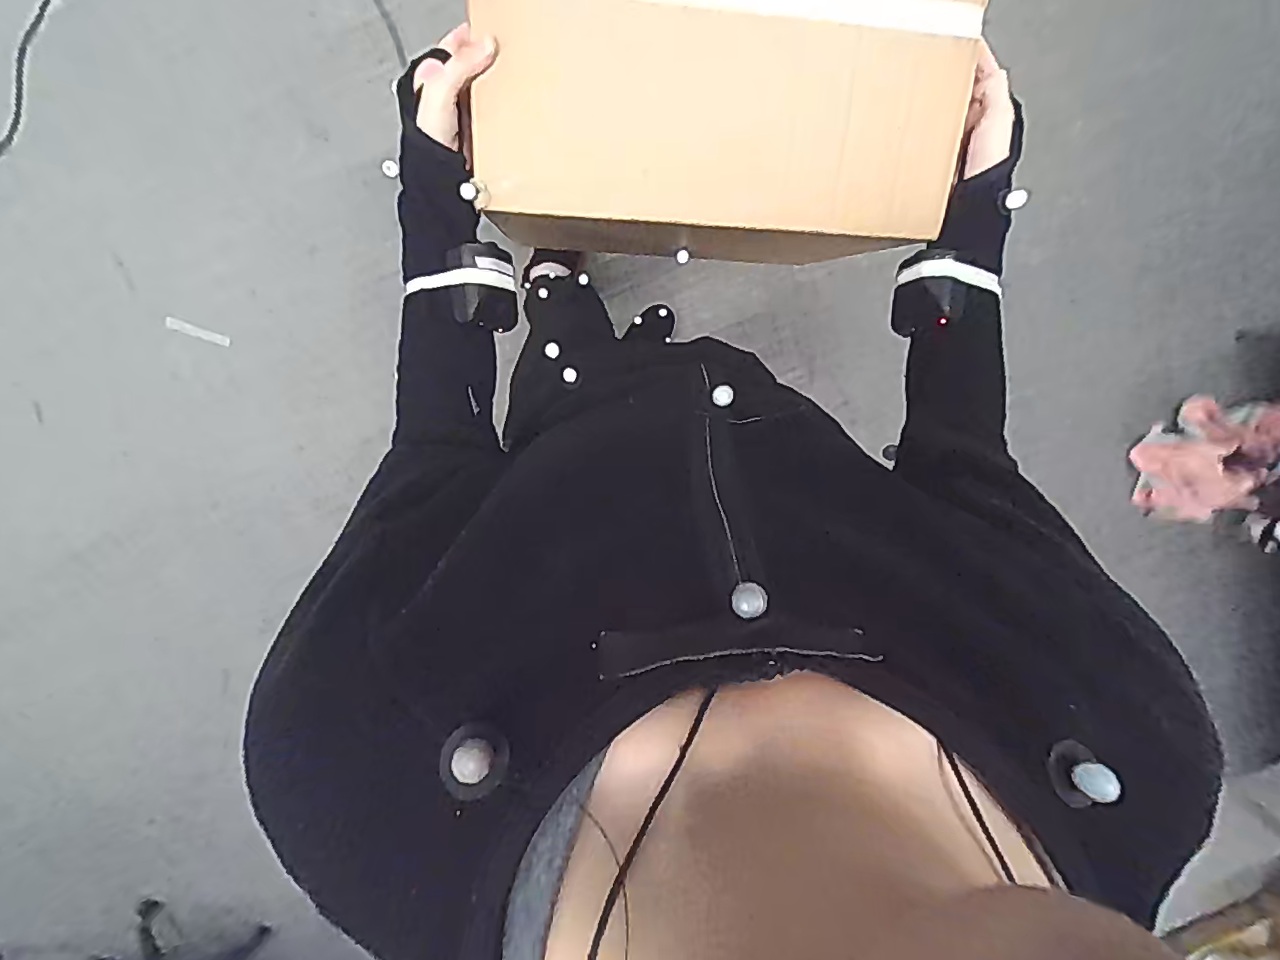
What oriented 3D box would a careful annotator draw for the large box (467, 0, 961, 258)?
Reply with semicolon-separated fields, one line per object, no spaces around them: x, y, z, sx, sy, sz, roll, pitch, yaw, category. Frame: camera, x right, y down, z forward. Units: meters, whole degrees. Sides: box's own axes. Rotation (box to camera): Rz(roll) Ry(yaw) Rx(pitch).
0.052;-0.413;0.573;0.408;0.320;0.320;0;107;-5;large box
